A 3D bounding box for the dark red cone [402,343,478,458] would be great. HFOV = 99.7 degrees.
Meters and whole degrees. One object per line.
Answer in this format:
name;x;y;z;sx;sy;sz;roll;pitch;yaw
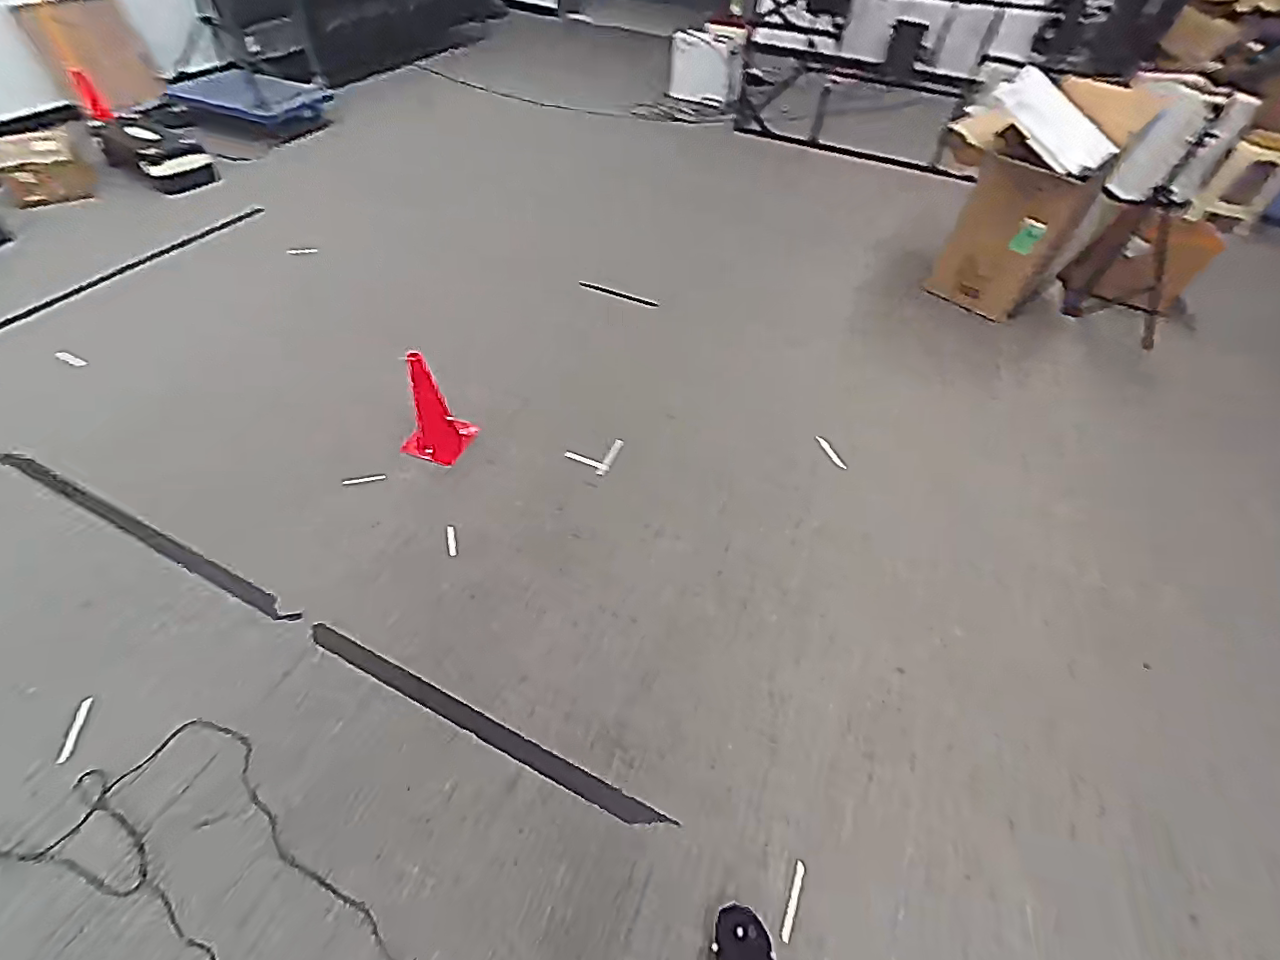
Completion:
dark red cone;-0.667;-0.266;1.716;0.202;0.394;0.201;16;51;9
